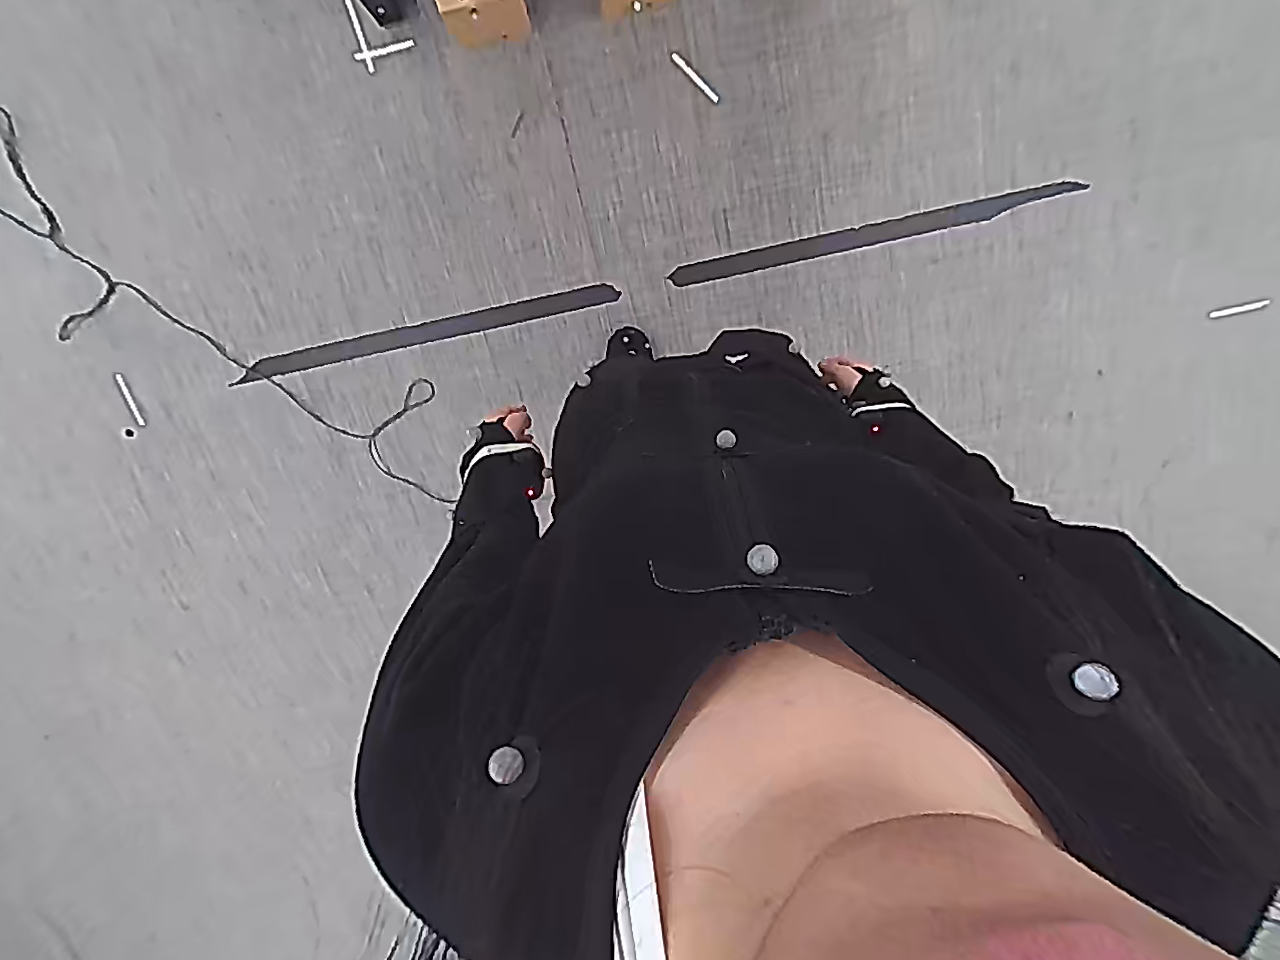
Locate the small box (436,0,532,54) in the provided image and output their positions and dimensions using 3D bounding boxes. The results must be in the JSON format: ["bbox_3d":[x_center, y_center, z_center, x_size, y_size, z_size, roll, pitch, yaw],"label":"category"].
[{"bbox_3d":[-0.331,-1.025,1.107,0.168,0.176,0.179,-11,105,1],"label":"small box"}]

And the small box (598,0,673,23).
[{"bbox_3d":[-0.020,-1.088,1.098,0.168,0.176,0.179,-13,108,2],"label":"small box"}]
